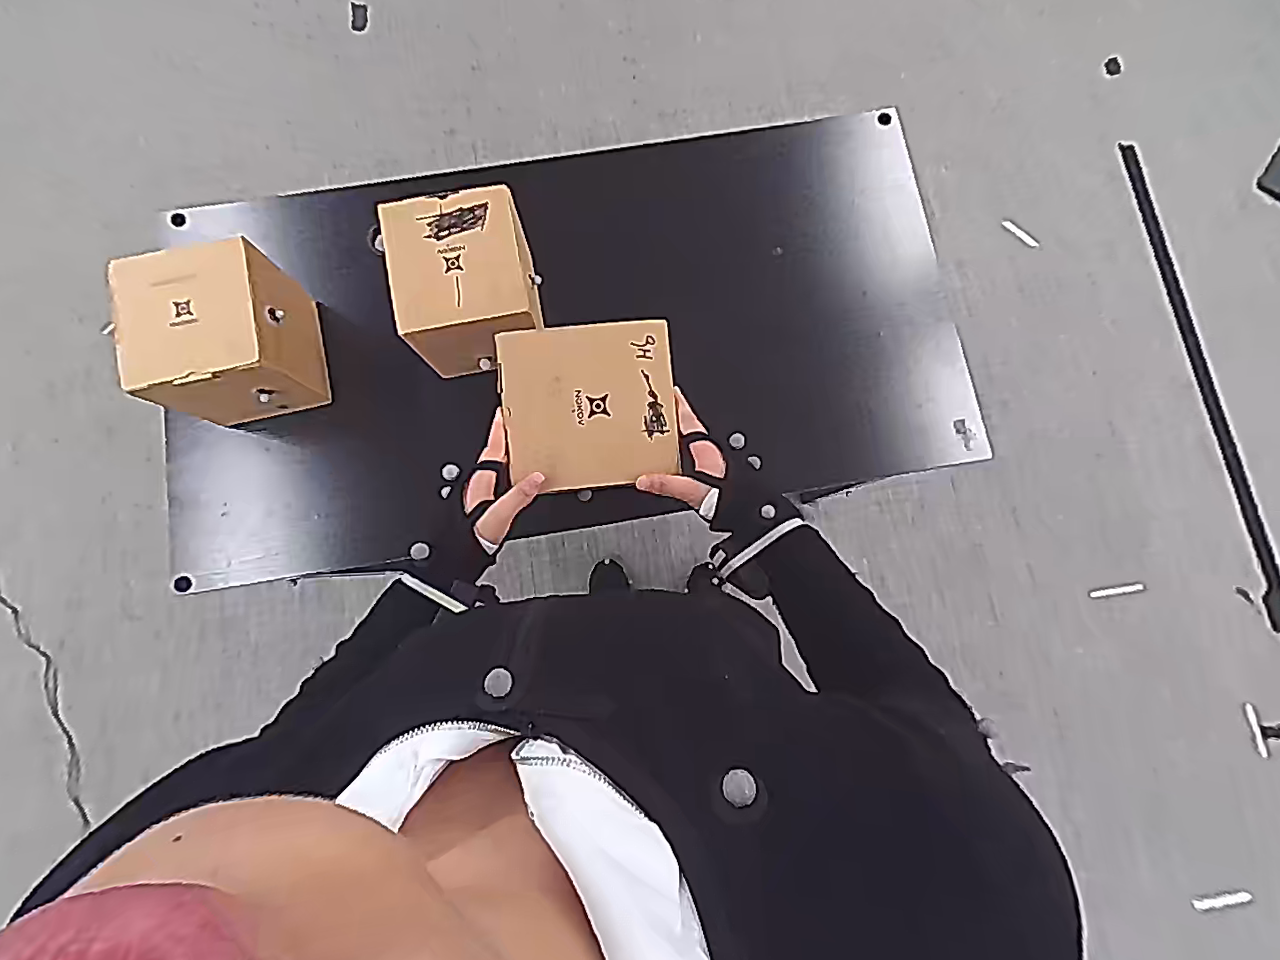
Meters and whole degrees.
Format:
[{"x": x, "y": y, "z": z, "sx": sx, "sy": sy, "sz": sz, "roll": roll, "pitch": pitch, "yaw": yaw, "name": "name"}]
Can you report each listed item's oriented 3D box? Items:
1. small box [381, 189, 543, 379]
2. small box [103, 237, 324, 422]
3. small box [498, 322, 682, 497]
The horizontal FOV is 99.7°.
[{"x": -0.232, "y": -0.260, "z": 0.746, "sx": 0.168, "sy": 0.176, "sz": 0.179, "roll": -11, "pitch": 82, "yaw": -3, "name": "small box"}, {"x": -0.556, "y": -0.188, "z": 0.729, "sx": 0.168, "sy": 0.176, "sz": 0.179, "roll": -14, "pitch": 81, "yaw": -4, "name": "small box"}, {"x": -0.052, "y": -0.068, "z": 0.616, "sx": 0.179, "sy": 0.176, "sz": 0.168, "roll": -5, "pitch": 88, "yaw": -3, "name": "small box"}]
